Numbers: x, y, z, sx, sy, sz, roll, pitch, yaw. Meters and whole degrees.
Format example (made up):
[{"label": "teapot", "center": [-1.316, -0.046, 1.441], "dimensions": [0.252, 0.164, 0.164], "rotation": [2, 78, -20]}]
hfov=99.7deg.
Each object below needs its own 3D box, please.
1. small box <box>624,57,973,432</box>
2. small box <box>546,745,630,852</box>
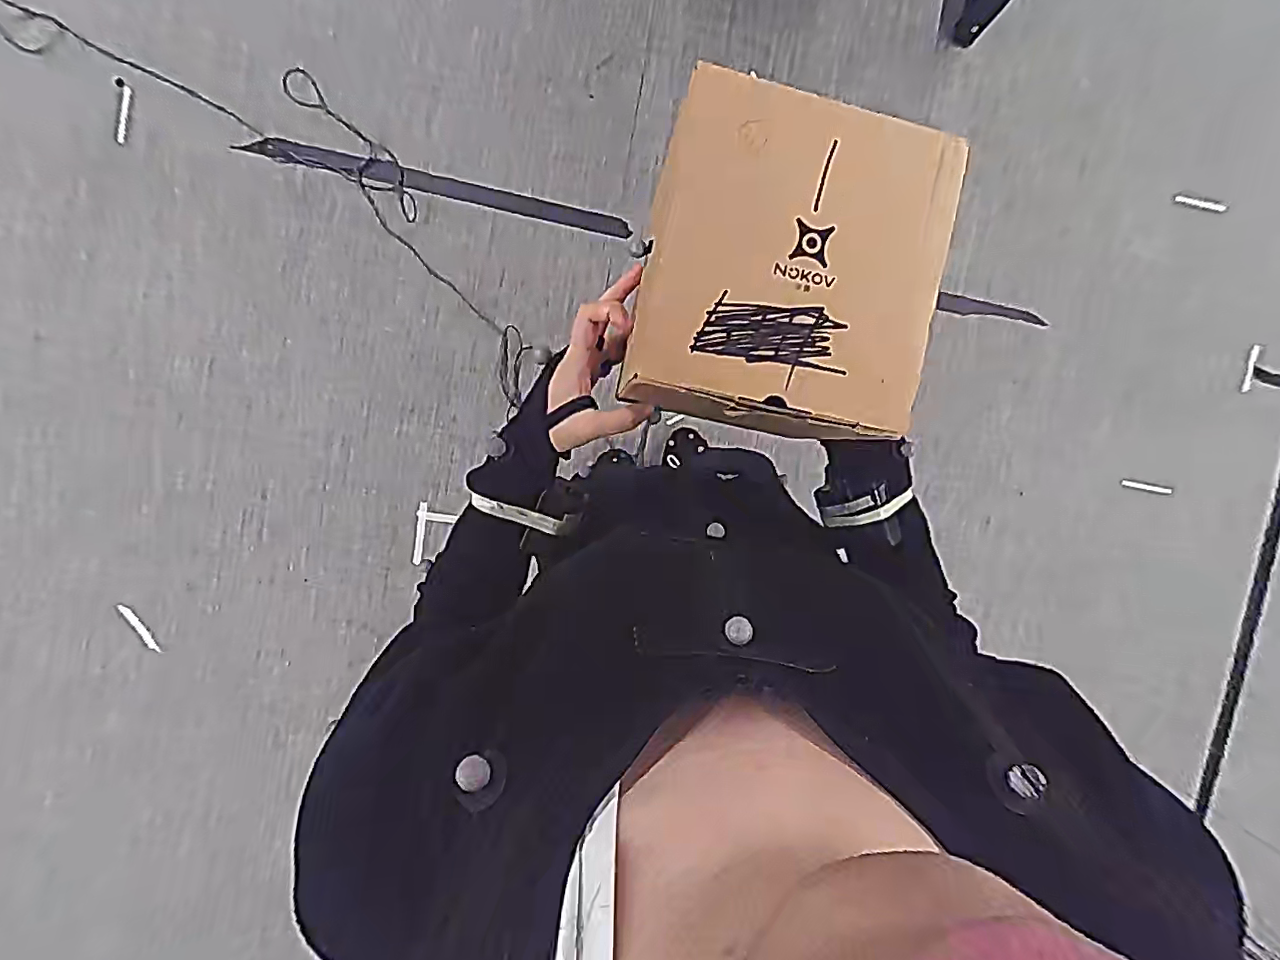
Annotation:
[{"label": "small box", "center": [0.086, -0.133, 0.383], "dimensions": [0.168, 0.176, 0.179], "rotation": [11, 92, -7]}, {"label": "small box", "center": [-0.139, 0.849, 1.457], "dimensions": [0.179, 0.176, 0.168], "rotation": [18, 93, -6]}]
